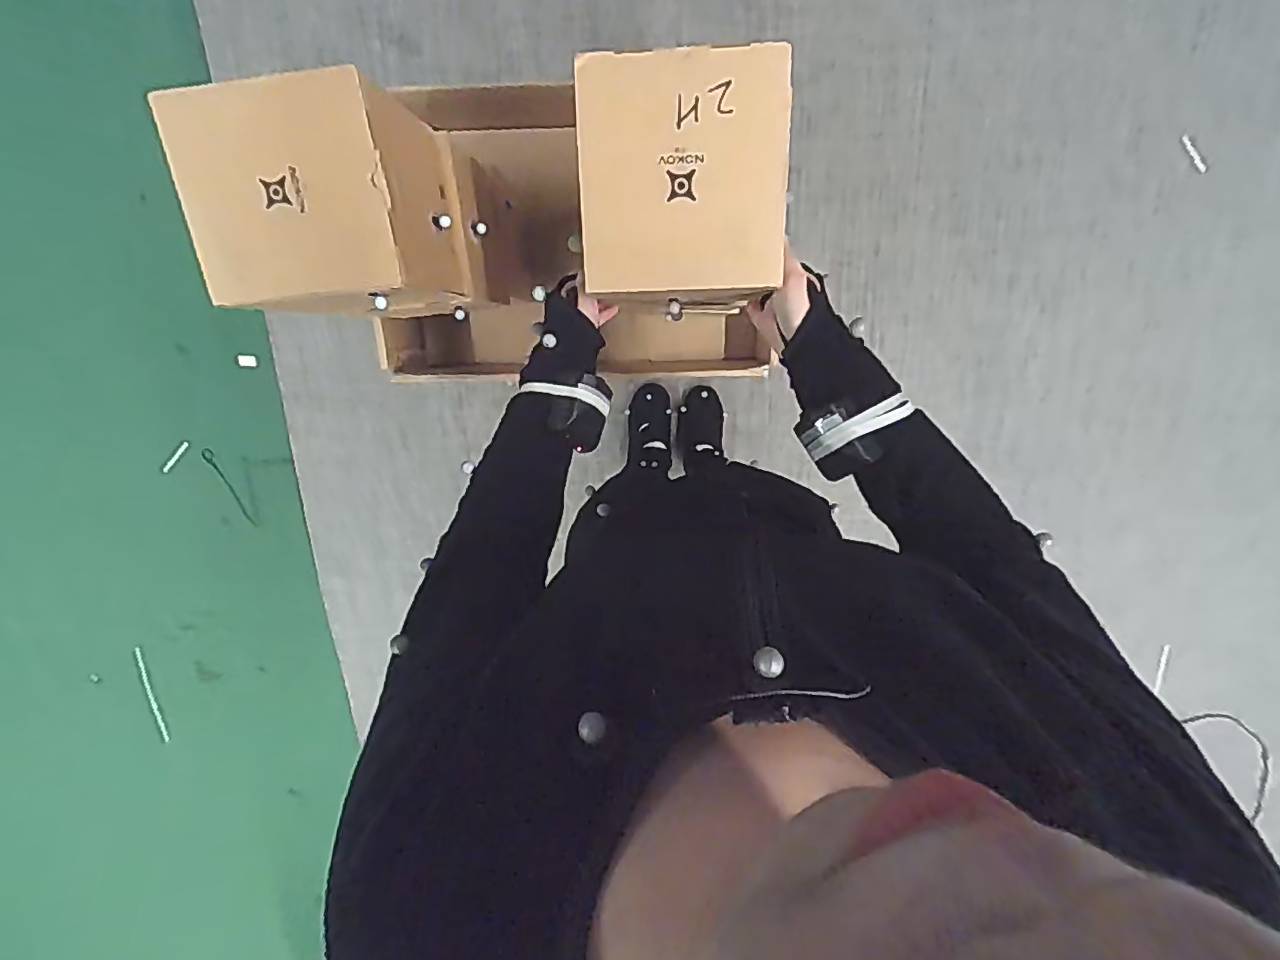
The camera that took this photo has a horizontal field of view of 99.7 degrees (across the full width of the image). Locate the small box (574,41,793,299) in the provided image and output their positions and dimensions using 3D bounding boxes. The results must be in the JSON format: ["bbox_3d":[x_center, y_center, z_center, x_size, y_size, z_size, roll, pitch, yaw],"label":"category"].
[{"bbox_3d":[0.036,-0.261,0.499,0.168,0.176,0.179,-1,106,2],"label":"small box"}]

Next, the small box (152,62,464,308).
[{"bbox_3d":[-0.294,-0.262,0.523,0.179,0.176,0.168,-6,106,2],"label":"small box"}]

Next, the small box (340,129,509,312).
[{"bbox_3d":[-0.274,-0.308,0.678,0.168,0.176,0.179,-4,106,3],"label":"small box"}]
